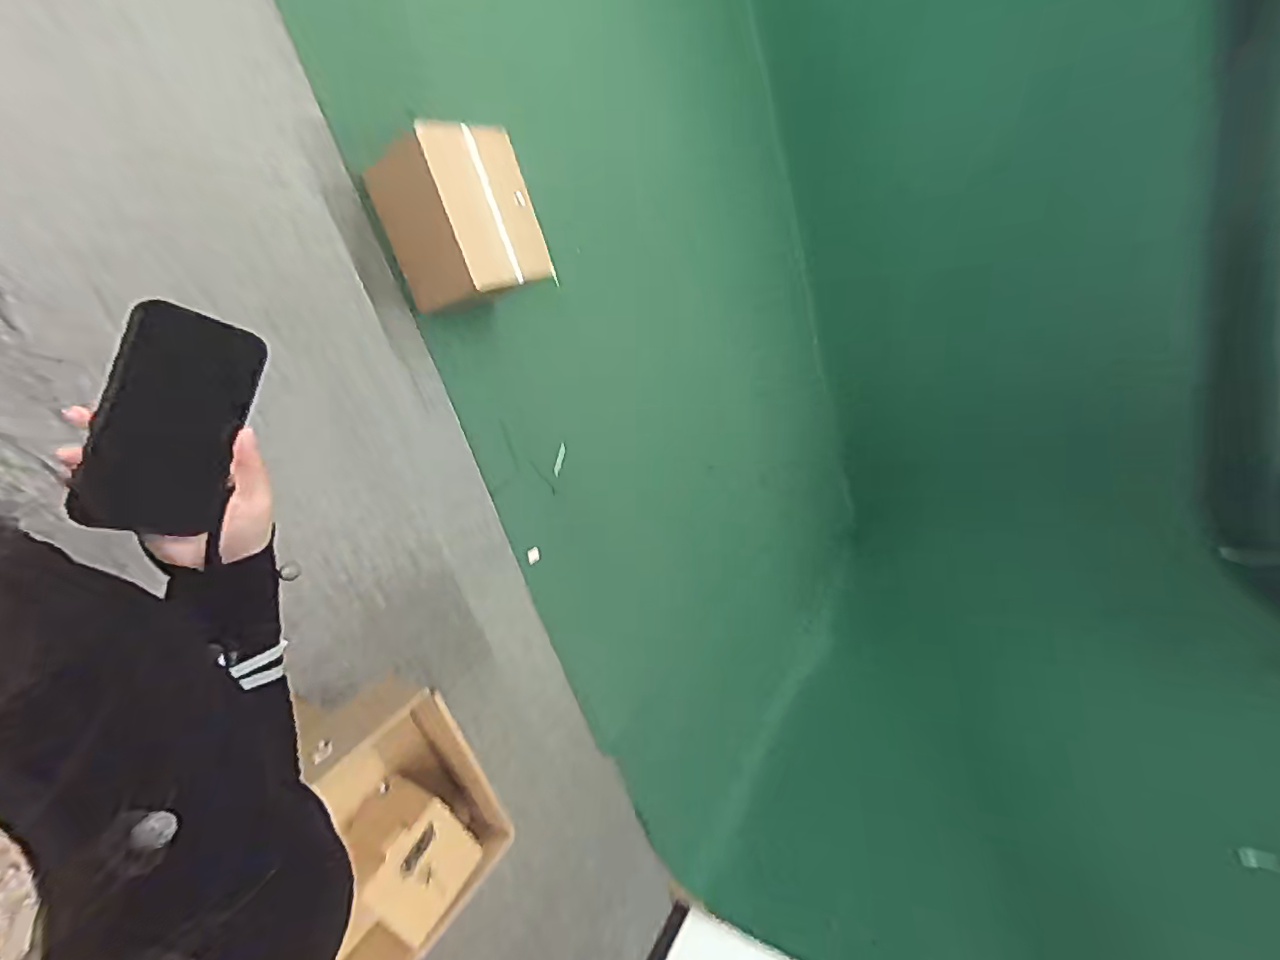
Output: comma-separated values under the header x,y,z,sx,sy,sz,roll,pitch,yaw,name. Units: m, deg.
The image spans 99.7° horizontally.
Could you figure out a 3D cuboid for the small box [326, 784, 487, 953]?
x,y,z,sx,sy,sz,roll,pitch,yaw,name
-0.422,0.684,0.976,0.168,0.176,0.179,-46,122,-41,small box
